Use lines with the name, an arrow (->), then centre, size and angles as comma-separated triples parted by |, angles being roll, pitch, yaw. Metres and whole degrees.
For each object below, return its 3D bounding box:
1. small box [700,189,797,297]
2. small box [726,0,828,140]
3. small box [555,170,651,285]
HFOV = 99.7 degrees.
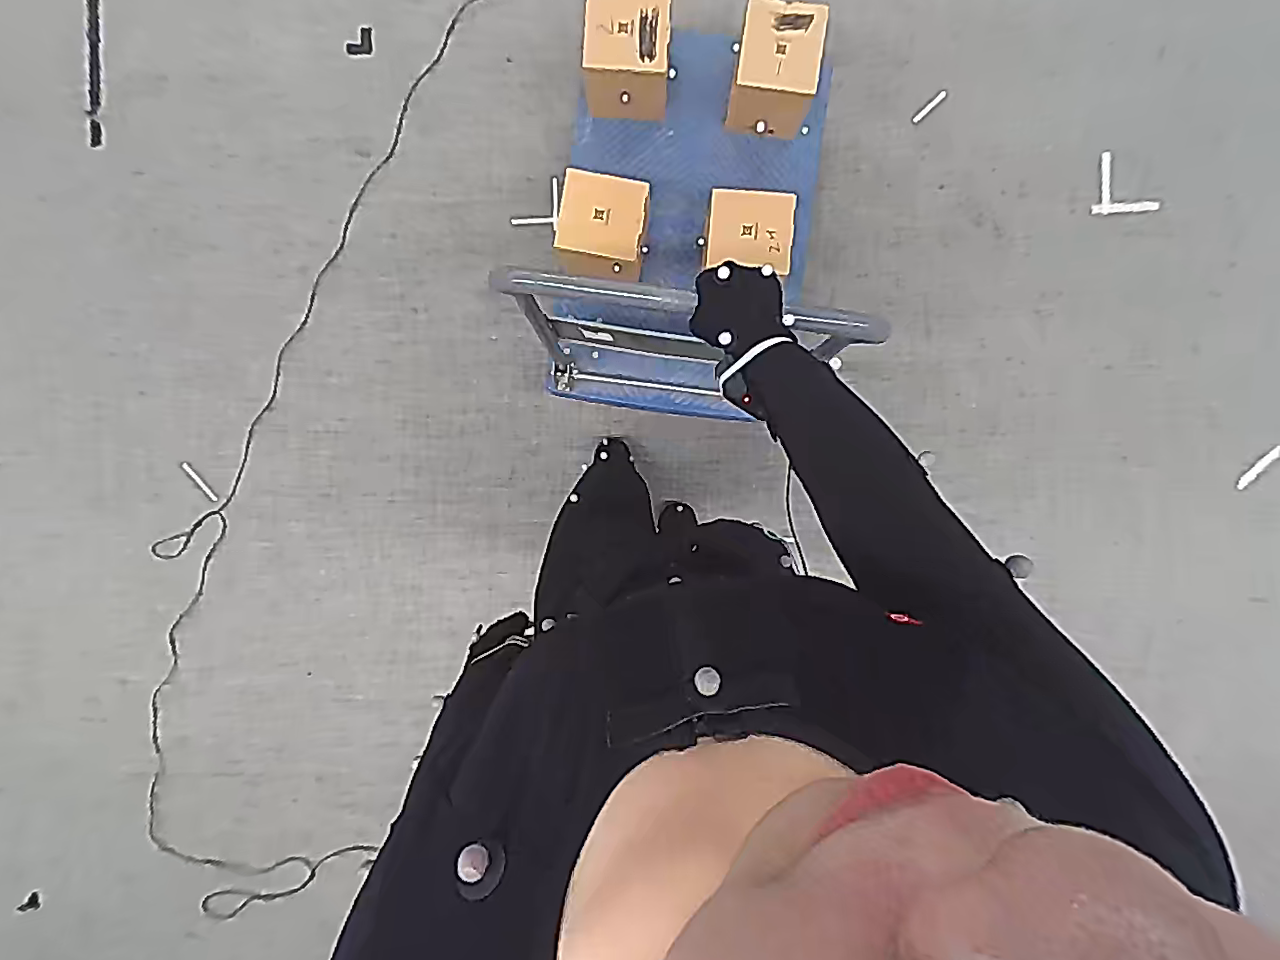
small box -> 0.230, -0.514, 1.193 | 0.179, 0.176, 0.168 | 5, 93, 1
small box -> 0.289, -0.882, 1.174 | 0.168, 0.176, 0.179 | 8, 94, 0
small box -> -0.078, -0.548, 1.196 | 0.179, 0.176, 0.168 | 10, 92, -2
